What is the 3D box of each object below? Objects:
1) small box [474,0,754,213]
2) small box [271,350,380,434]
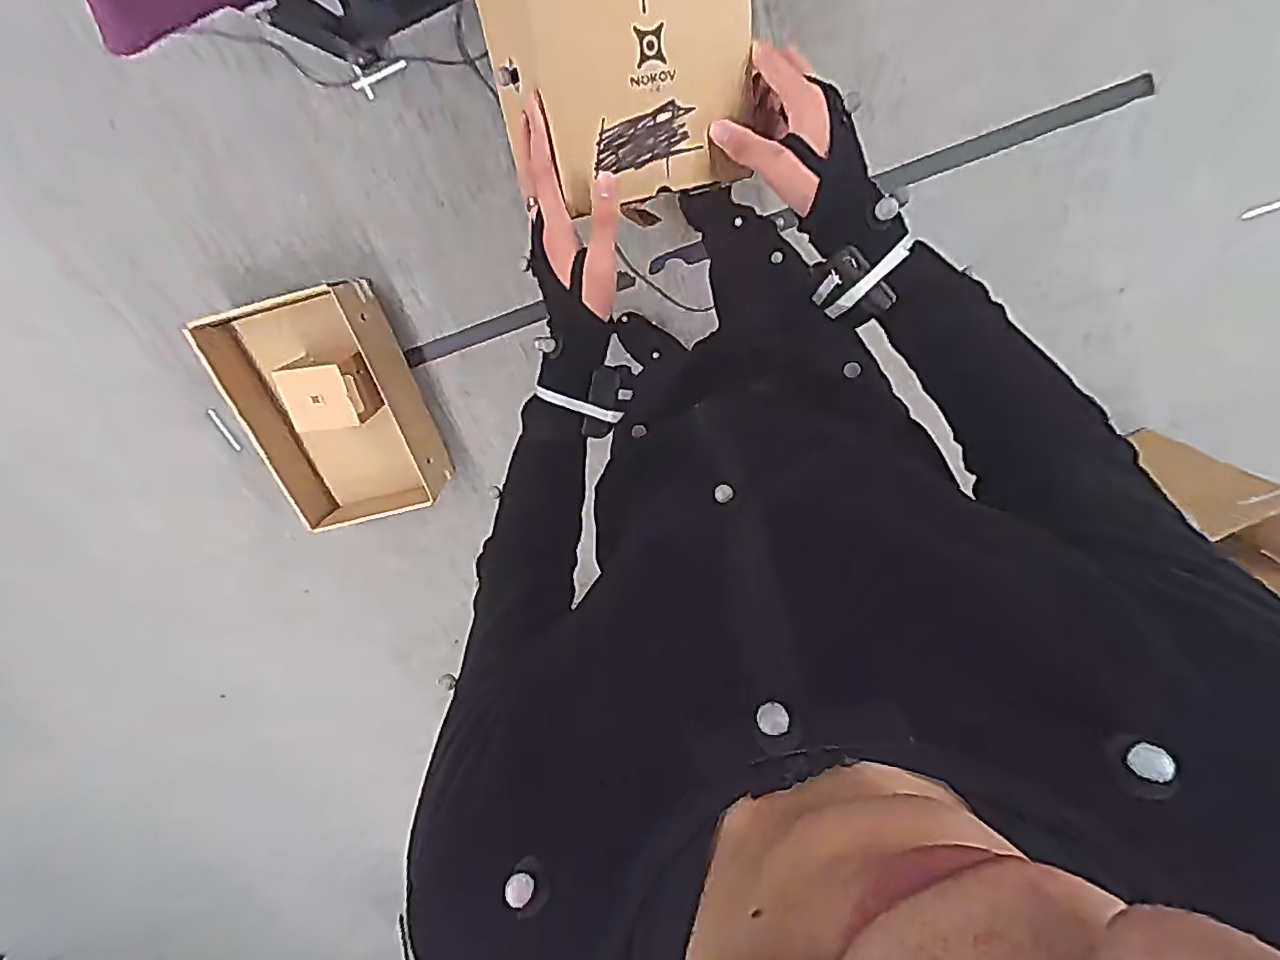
[{"bbox_3d":[-0.025,-0.333,0.432,0.168,0.176,0.179,-20,126,-13],"label":"small box"},{"bbox_3d":[-0.814,-0.237,1.428,0.179,0.176,0.168,-6,117,2],"label":"small box"}]
